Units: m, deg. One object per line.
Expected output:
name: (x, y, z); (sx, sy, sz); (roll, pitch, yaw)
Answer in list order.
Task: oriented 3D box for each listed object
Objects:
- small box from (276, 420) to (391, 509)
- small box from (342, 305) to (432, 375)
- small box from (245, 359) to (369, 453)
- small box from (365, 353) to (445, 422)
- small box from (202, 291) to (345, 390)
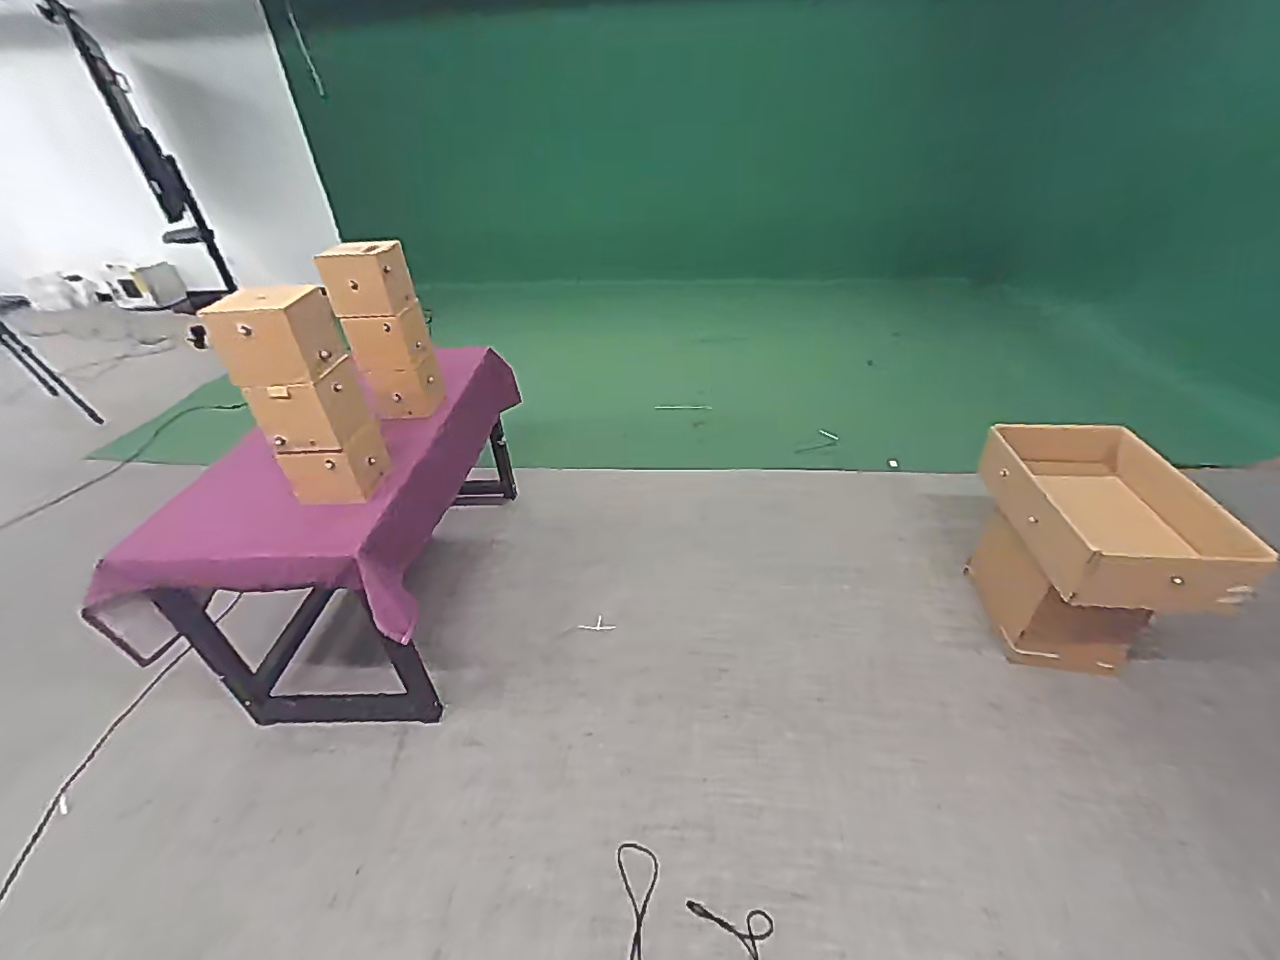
small box: (-0.771, -0.039, 1.385); (0.179, 0.176, 0.168); (-2, 34, 3)
small box: (-0.766, -0.427, 1.655); (0.179, 0.176, 0.168); (-1, 35, 3)
small box: (-0.778, -0.173, 1.290); (0.168, 0.176, 0.179); (-2, 34, 2)
small box: (-0.750, -0.296, 1.751); (0.168, 0.176, 0.179); (-2, 36, 2)
small box: (-0.796, -0.306, 1.197); (0.179, 0.176, 0.168); (-2, 36, 1)
